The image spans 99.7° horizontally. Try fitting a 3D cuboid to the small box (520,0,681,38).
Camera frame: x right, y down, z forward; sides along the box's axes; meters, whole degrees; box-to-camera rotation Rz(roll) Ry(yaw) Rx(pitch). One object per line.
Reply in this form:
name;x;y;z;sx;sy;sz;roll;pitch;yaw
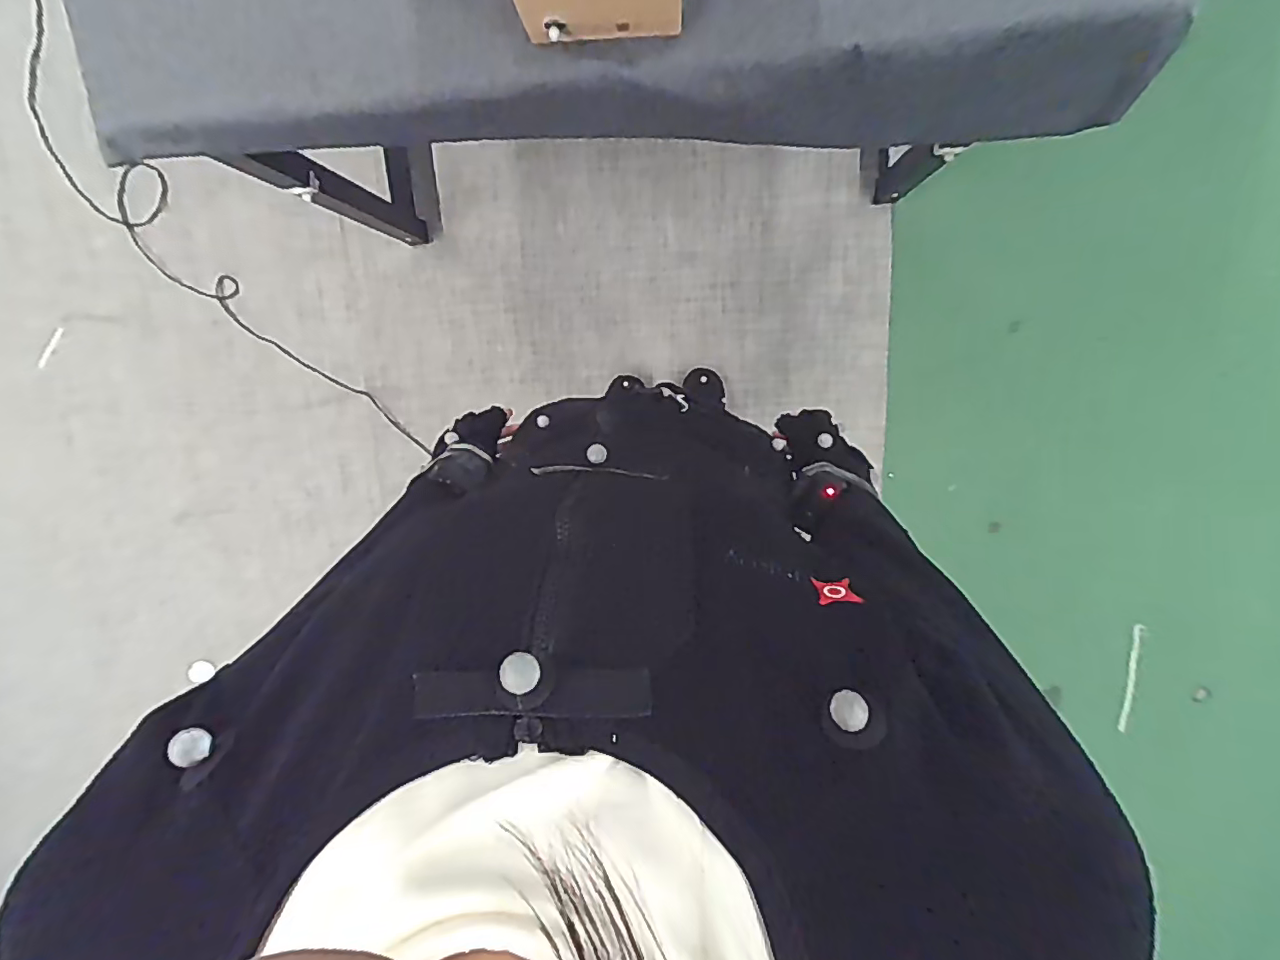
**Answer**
small box;-0.042;-0.553;0.504;0.168;0.176;0.179;1;100;3
